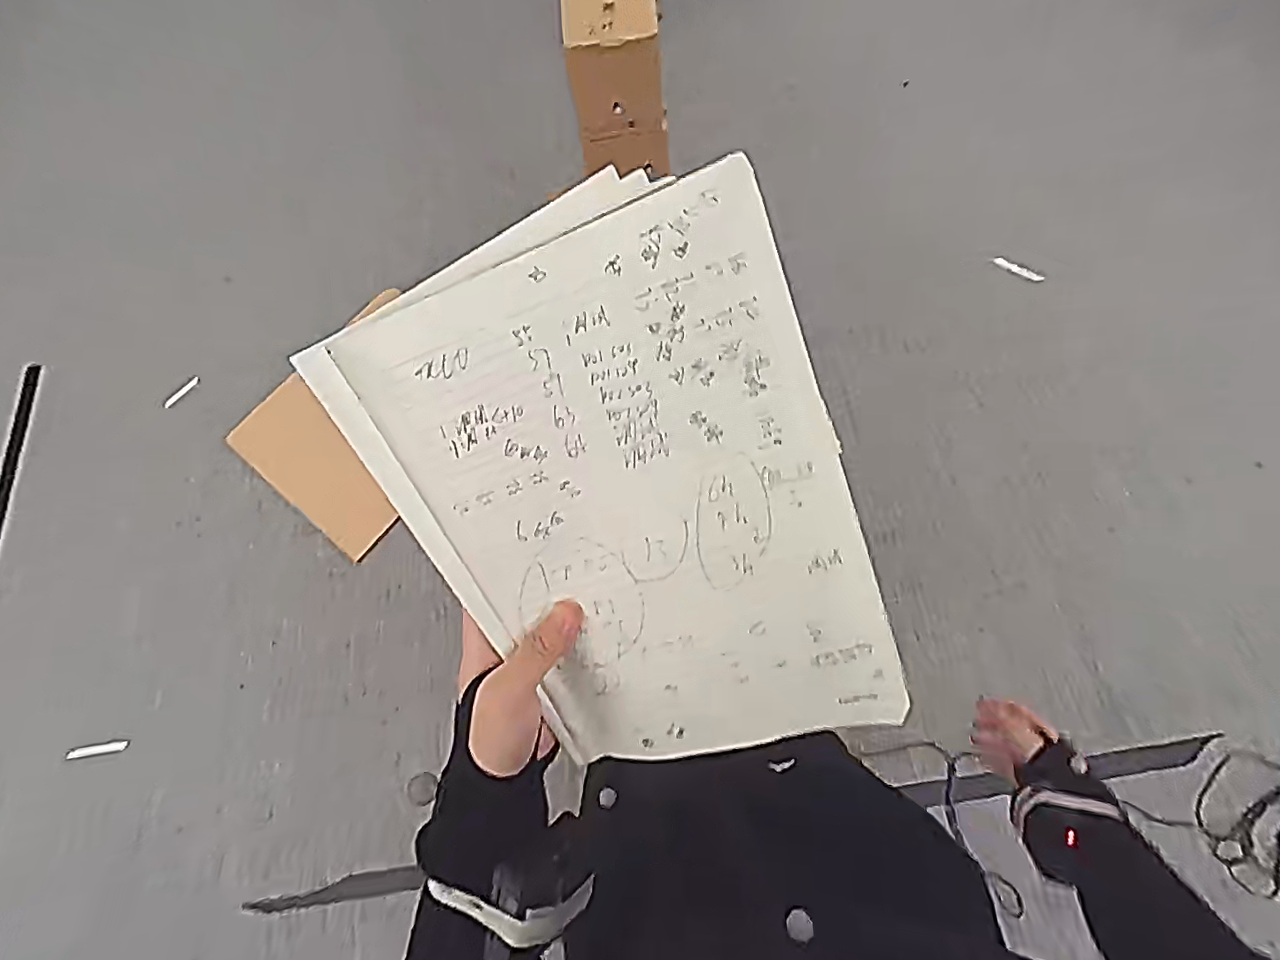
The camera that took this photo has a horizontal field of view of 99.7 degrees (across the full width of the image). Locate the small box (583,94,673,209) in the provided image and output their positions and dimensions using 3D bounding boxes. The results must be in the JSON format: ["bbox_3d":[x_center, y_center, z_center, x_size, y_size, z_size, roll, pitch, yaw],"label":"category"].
[{"bbox_3d":[-0.024,-0.716,1.159,0.179,0.176,0.168,-8,69,3],"label":"small box"}]

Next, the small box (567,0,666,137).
[{"bbox_3d":[-0.041,-0.783,1.009,0.168,0.176,0.179,-5,70,3],"label":"small box"}]
